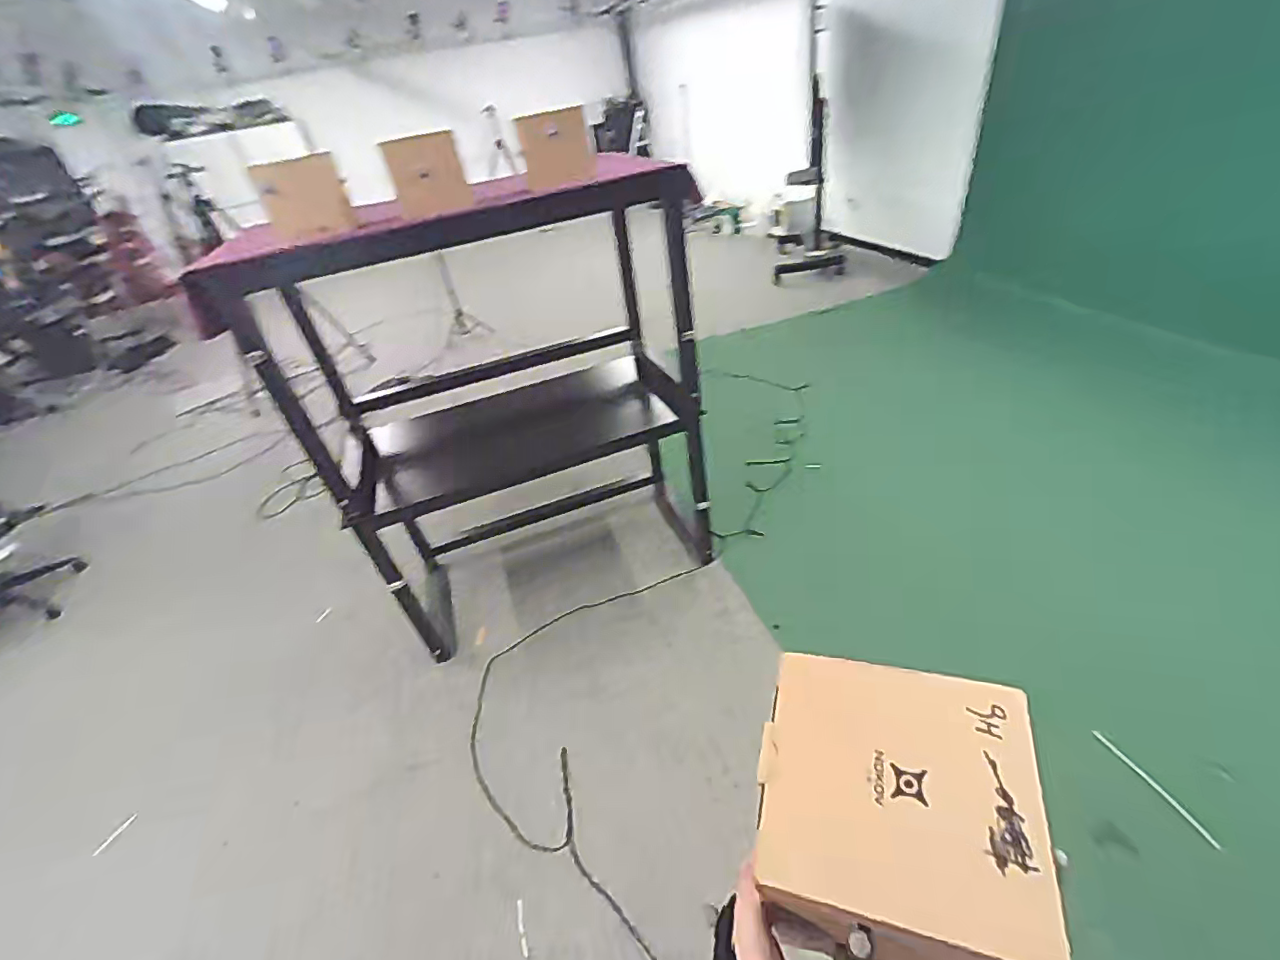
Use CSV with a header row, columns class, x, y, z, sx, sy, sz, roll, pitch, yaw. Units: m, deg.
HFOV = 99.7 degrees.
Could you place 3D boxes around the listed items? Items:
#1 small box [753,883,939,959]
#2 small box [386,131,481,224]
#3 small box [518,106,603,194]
class,x,y,z,sx,sy,sz,roll,pitch,yaw
small box,0.214,0.367,0.558,0.168,0.176,0.179,-1,43,18
small box,-0.510,-0.764,1.363,0.179,0.176,0.168,-17,36,-6
small box,-0.210,-0.869,1.428,0.179,0.176,0.168,-16,36,-6
